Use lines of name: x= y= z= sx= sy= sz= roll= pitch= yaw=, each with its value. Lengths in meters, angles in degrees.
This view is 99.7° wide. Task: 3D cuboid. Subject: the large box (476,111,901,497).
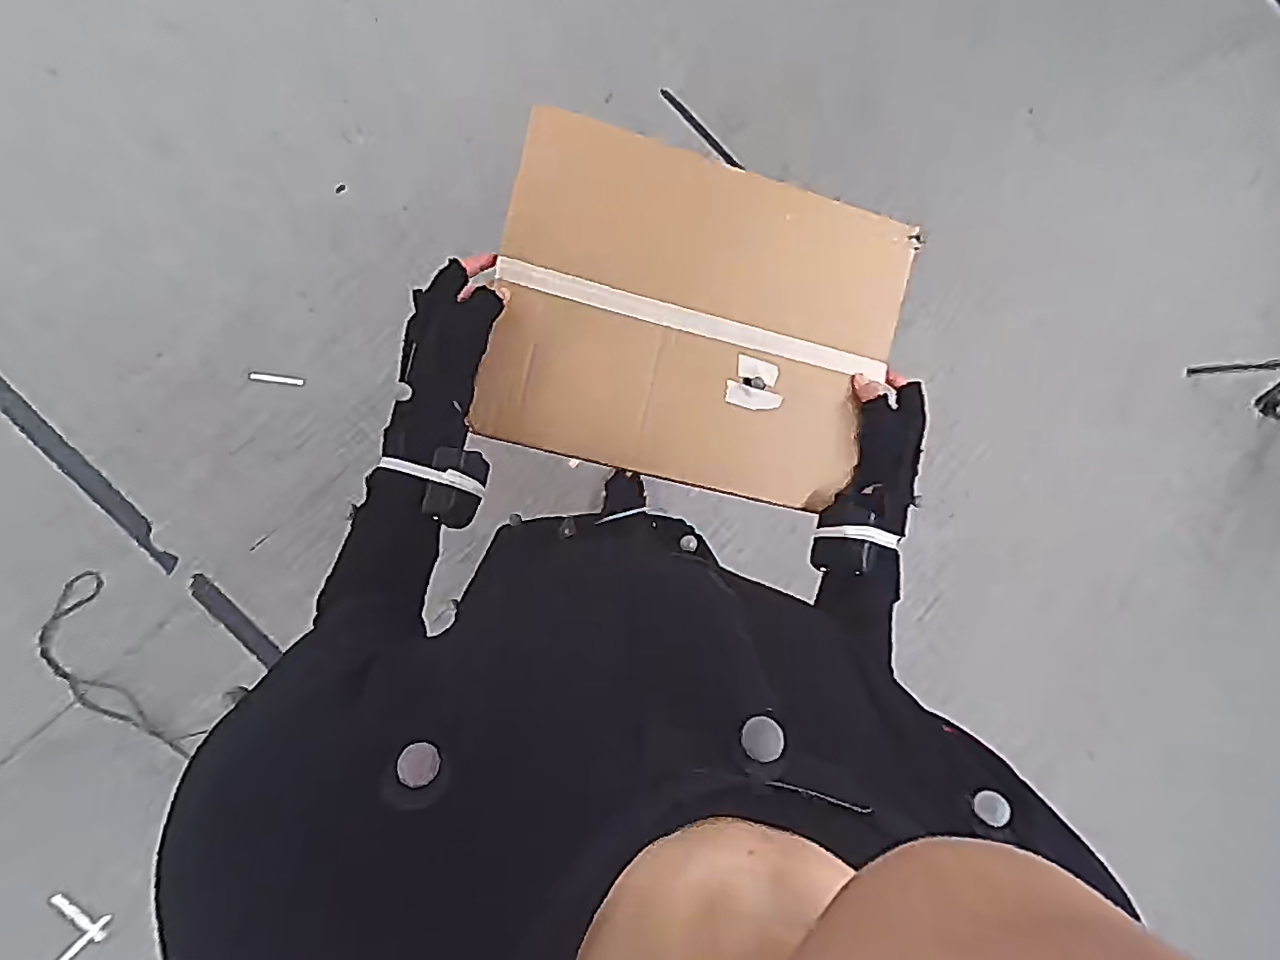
large box: x=0.036 y=-0.179 z=0.701 sx=0.408 sy=0.320 sz=0.320 roll=13 pitch=93 yaw=-10
